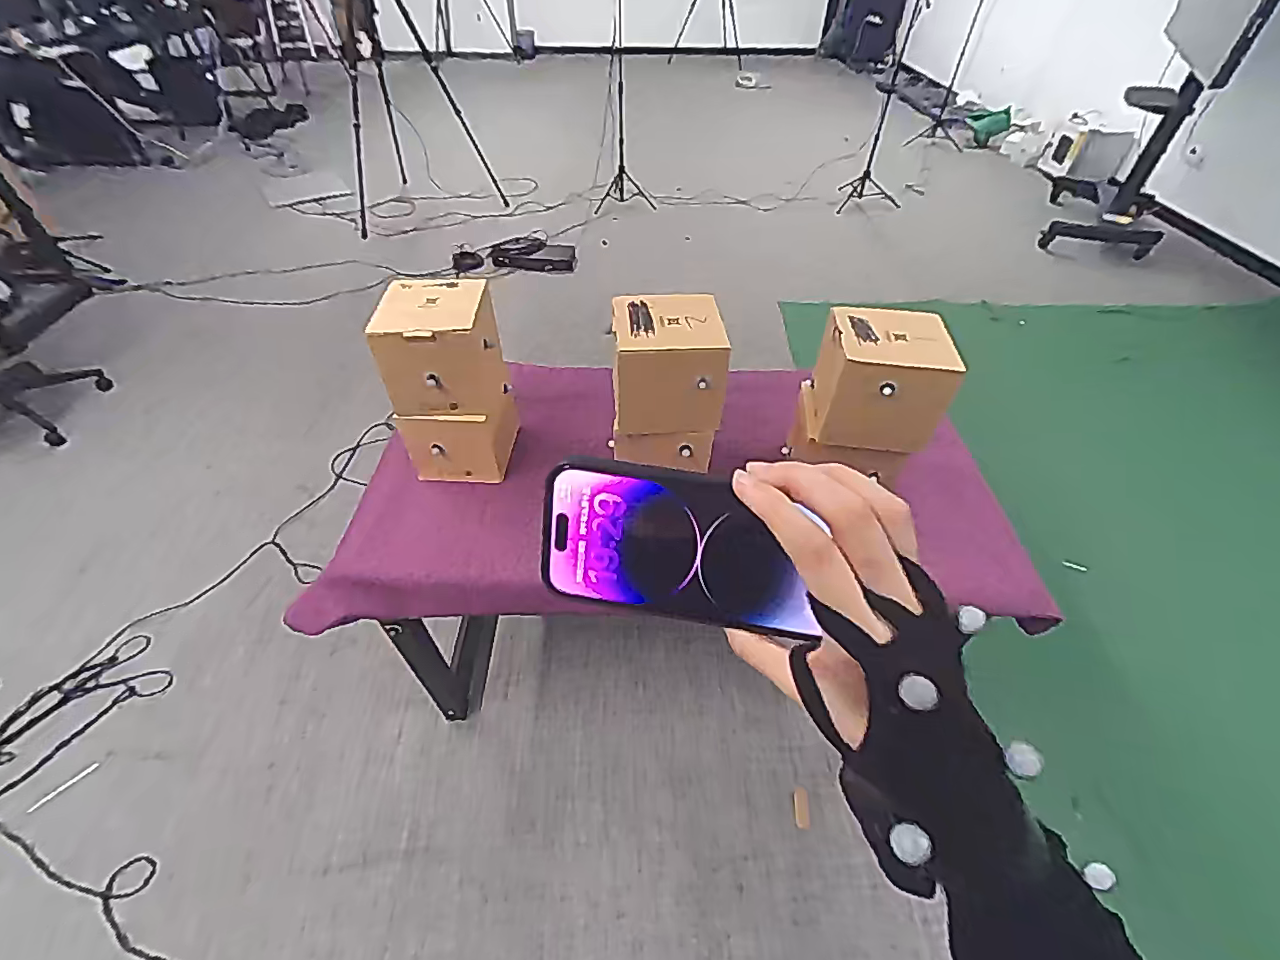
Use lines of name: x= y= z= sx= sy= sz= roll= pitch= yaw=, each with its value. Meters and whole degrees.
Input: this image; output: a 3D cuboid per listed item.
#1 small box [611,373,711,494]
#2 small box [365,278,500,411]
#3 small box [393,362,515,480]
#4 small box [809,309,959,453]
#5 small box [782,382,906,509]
small box: x=0.038 y=-0.087 z=1.043 sx=0.179 sy=0.176 sz=0.168 roll=2 pitch=47 yaw=1
small box: x=-0.349 y=-0.235 z=0.950 sx=0.168 sy=0.176 sz=0.179 roll=-1 pitch=48 yaw=-3
small box: x=-0.352 y=-0.116 z=1.064 sx=0.168 sy=0.176 sz=0.179 roll=3 pitch=47 yaw=1
small box: x=0.388 y=-0.163 z=0.901 sx=0.179 sy=0.176 sz=0.168 roll=7 pitch=47 yaw=4
small box: x=0.377 y=-0.062 z=1.030 sx=0.179 sy=0.176 sz=0.168 roll=7 pitch=46 yaw=5
